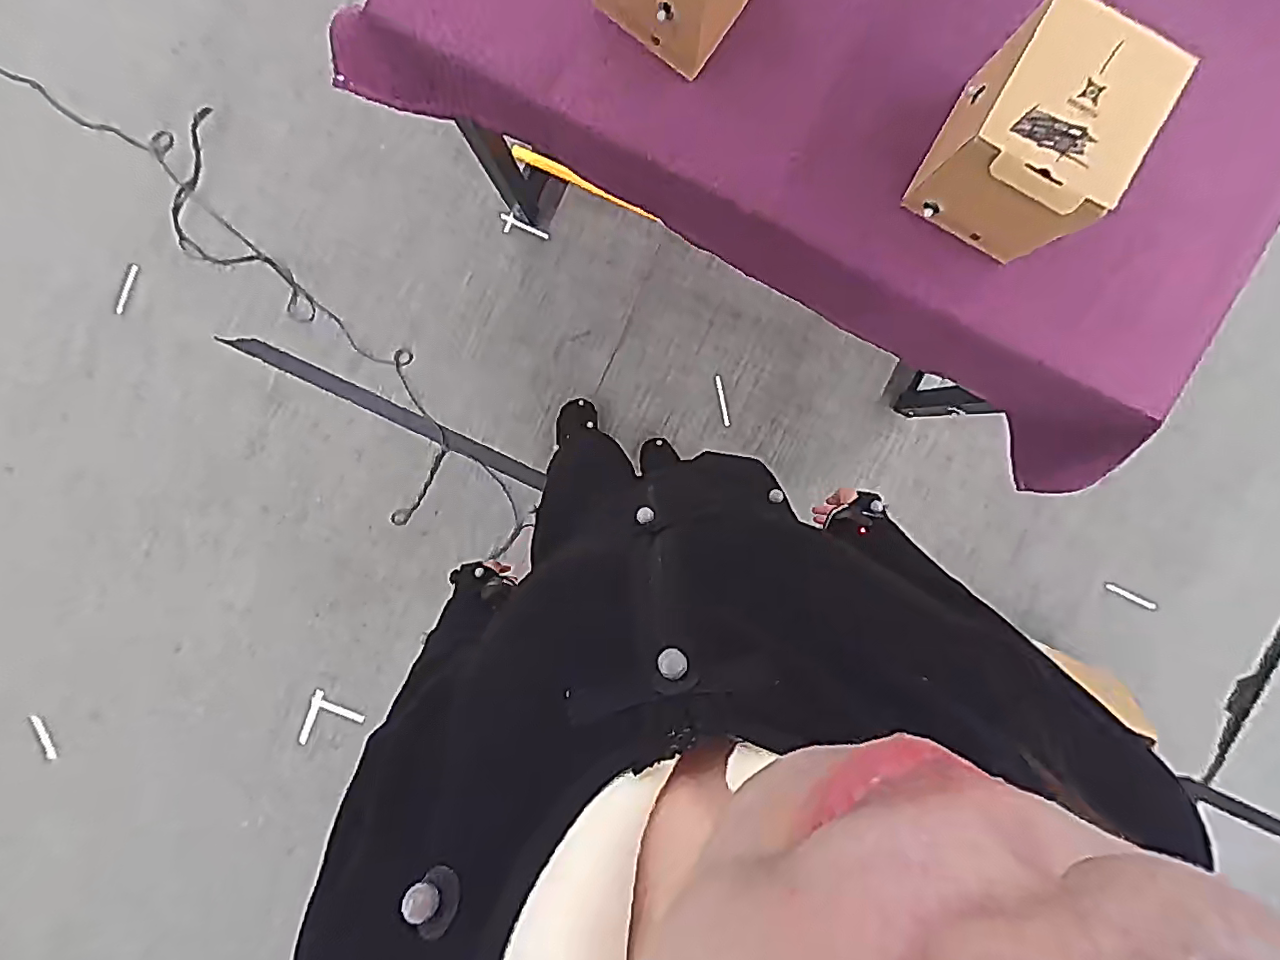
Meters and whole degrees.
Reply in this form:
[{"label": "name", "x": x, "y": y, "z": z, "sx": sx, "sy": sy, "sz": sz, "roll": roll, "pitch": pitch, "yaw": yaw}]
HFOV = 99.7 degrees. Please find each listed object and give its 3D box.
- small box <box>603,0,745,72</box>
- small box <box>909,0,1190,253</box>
[{"label": "small box", "x": 0.050, "y": -0.632, "z": 0.618, "sx": 0.168, "sy": 0.176, "sz": 0.179, "roll": 36, "pitch": 94, "yaw": -4}, {"label": "small box", "x": 0.454, "y": -0.401, "z": 0.637, "sx": 0.168, "sy": 0.176, "sz": 0.179, "roll": 28, "pitch": 94, "yaw": -2}]
